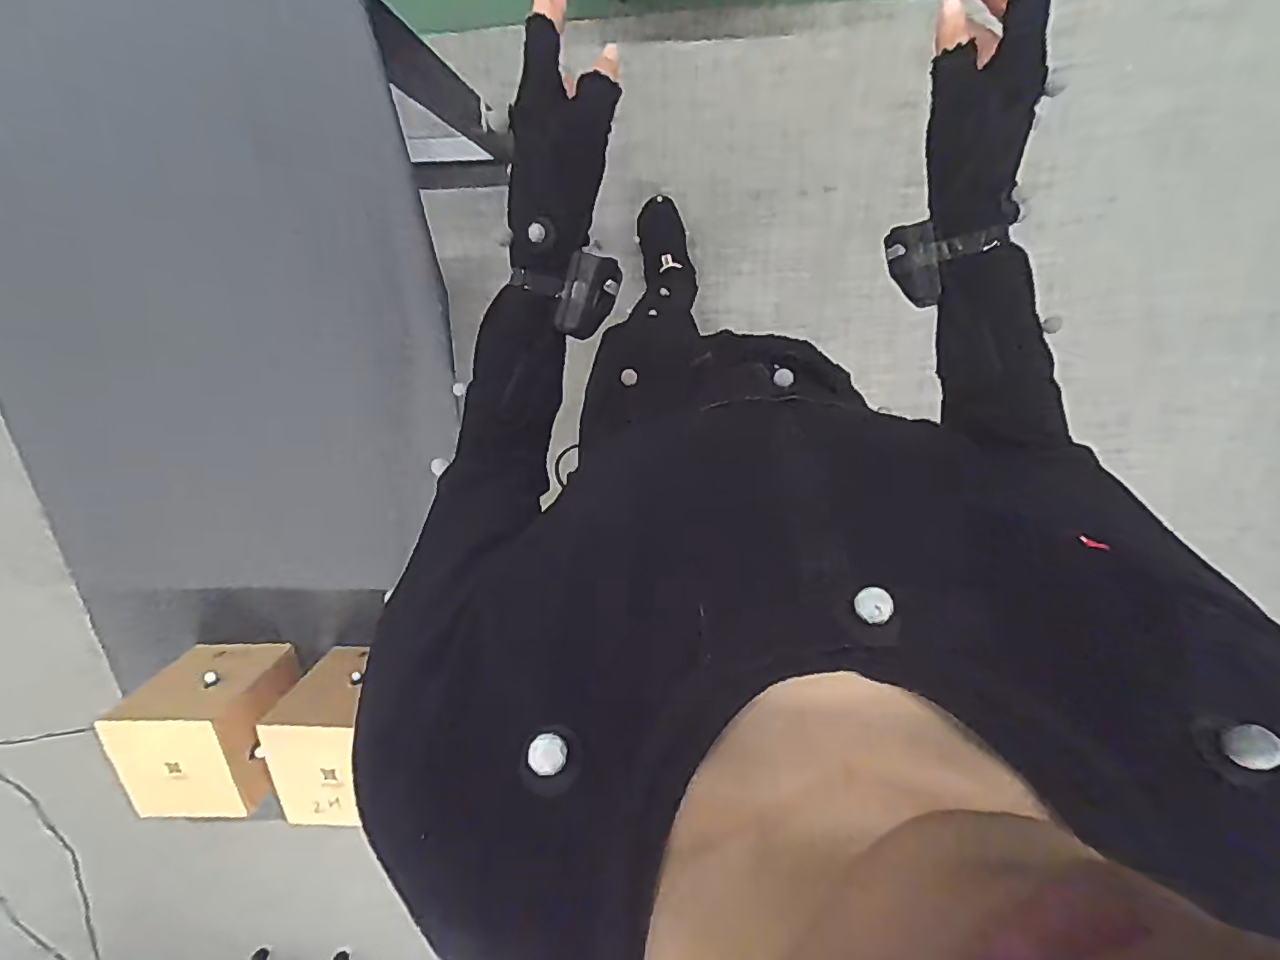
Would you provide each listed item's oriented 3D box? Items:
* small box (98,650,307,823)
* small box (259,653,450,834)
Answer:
[{"bbox_3d":[-0.619,0.370,0.804,0.168,0.176,0.179,-2,110,4],"label":"small box"},{"bbox_3d":[-0.396,0.371,0.784,0.168,0.176,0.179,-1,109,6],"label":"small box"}]
